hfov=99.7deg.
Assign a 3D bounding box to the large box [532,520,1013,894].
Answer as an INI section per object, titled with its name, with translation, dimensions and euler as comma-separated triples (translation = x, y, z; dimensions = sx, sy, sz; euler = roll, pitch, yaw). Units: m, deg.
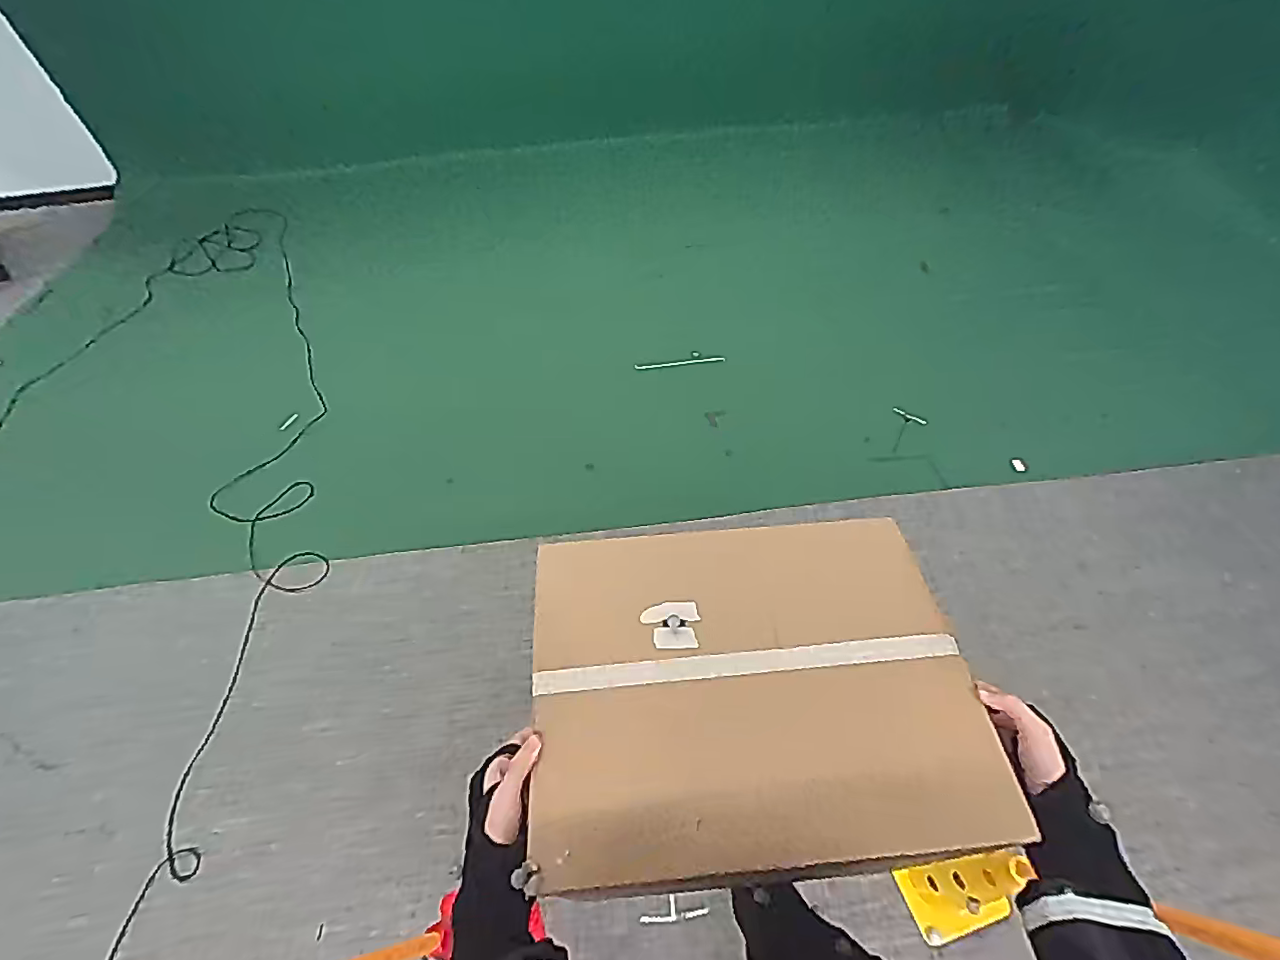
[large box]
translation = 0.103, 0.276, 0.642
dimensions = 0.408, 0.320, 0.320
euler = -5, 51, -2
